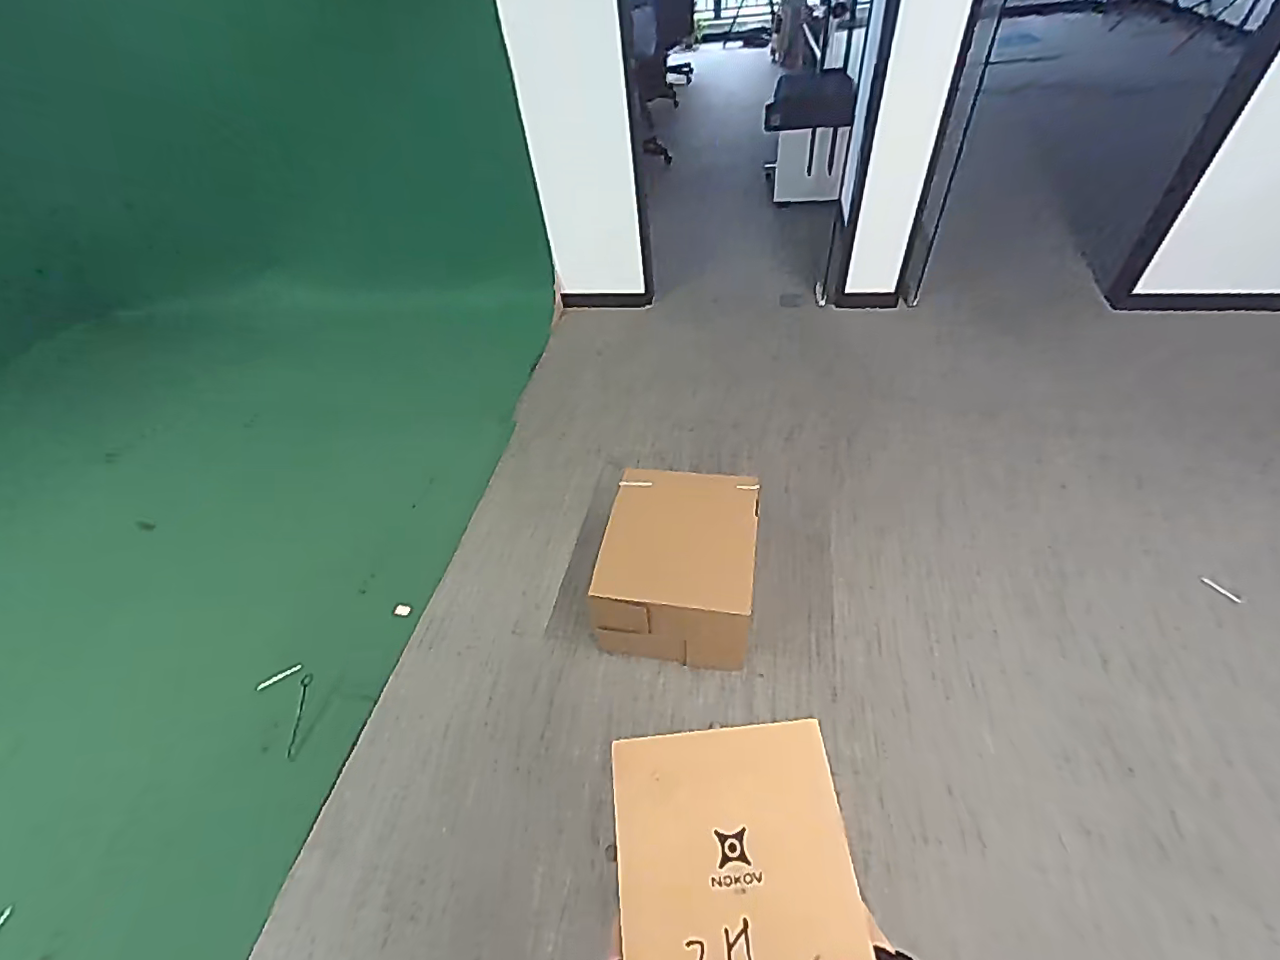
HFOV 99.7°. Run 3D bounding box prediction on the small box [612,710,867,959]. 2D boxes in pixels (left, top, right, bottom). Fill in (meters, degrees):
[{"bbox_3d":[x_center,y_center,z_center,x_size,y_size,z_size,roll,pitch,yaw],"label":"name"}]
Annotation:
[{"bbox_3d":[0.069,0.308,0.458,0.168,0.176,0.179,-7,58,2],"label":"small box"}]
